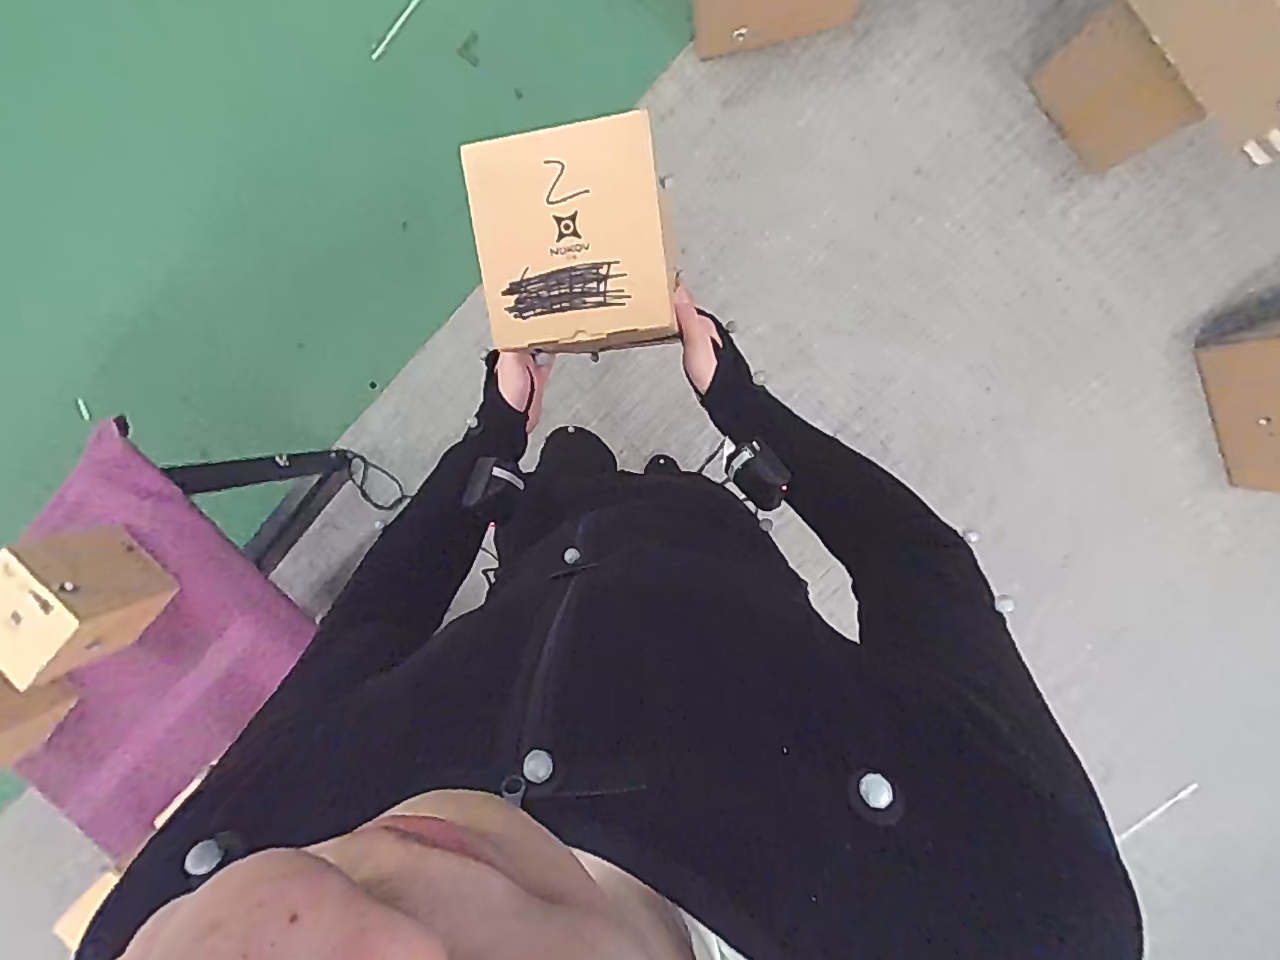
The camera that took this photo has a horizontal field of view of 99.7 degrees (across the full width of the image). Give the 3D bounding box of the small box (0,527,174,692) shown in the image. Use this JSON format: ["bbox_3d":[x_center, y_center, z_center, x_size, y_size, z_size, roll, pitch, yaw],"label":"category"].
[{"bbox_3d":[-0.952,0.207,0.907,0.179,0.176,0.168,-43,93,11],"label":"small box"}]

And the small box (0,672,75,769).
[{"bbox_3d":[-1.180,0.426,0.953,0.168,0.176,0.179,44,98,-4],"label":"small box"}]

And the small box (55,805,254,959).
[{"bbox_3d":[-0.852,0.742,0.968,0.168,0.176,0.179,45,97,-1],"label":"small box"}]

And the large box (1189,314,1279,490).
[{"bbox_3d":[1.662,-0.208,1.294,0.320,0.320,0.408,-21,94,7],"label":"large box"}]

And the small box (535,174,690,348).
[{"bbox_3d":[-0.024,-0.267,0.701,0.168,0.176,0.179,-4,101,7],"label":"small box"}]
